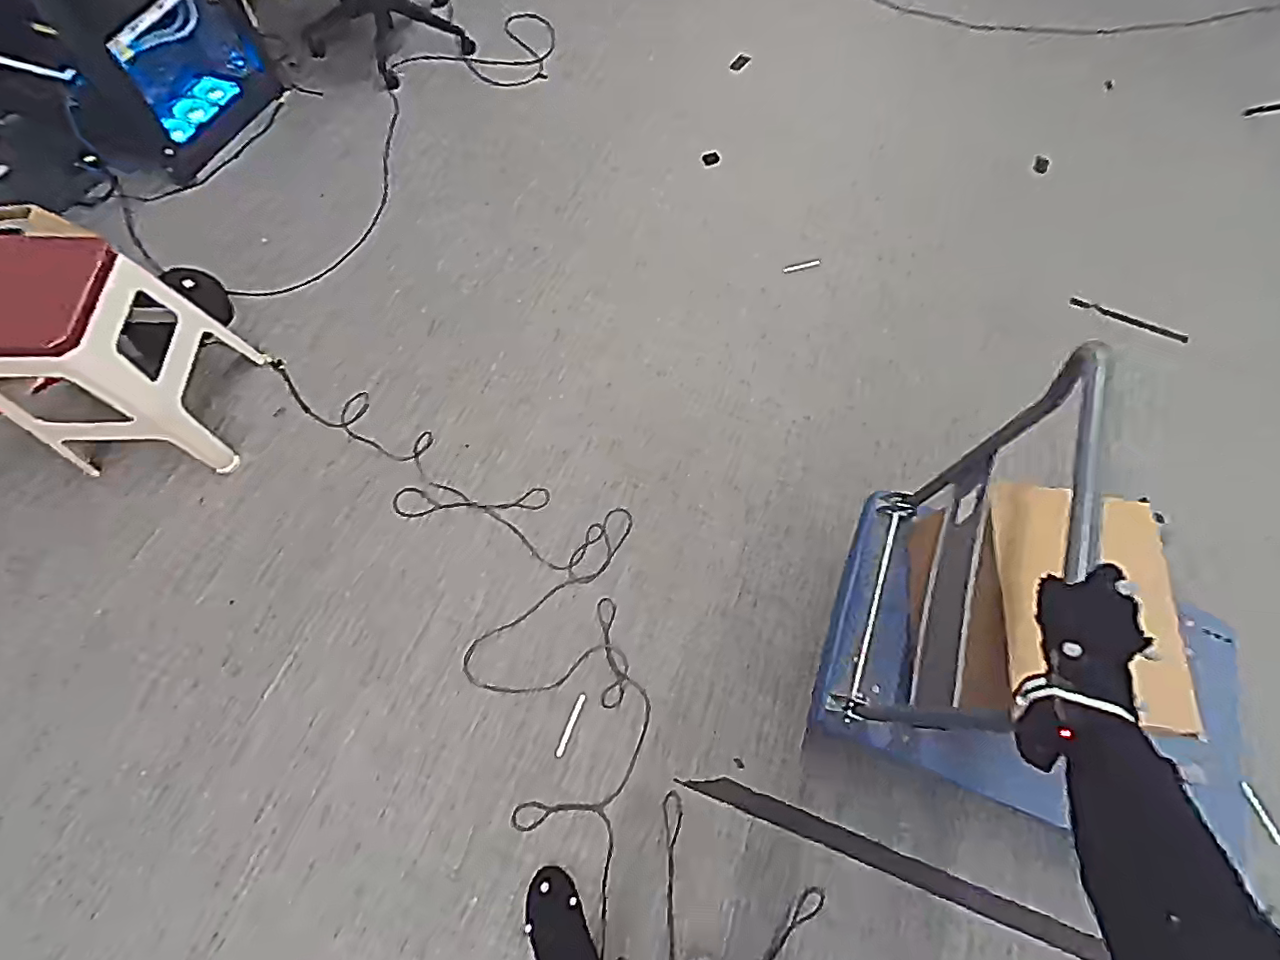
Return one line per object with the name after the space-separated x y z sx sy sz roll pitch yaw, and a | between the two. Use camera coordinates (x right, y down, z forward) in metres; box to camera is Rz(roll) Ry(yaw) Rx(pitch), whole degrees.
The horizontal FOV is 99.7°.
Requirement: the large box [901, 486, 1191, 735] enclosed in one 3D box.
0.760 0.265 1.087 0.320 0.320 0.408 8 68 0 | large box
